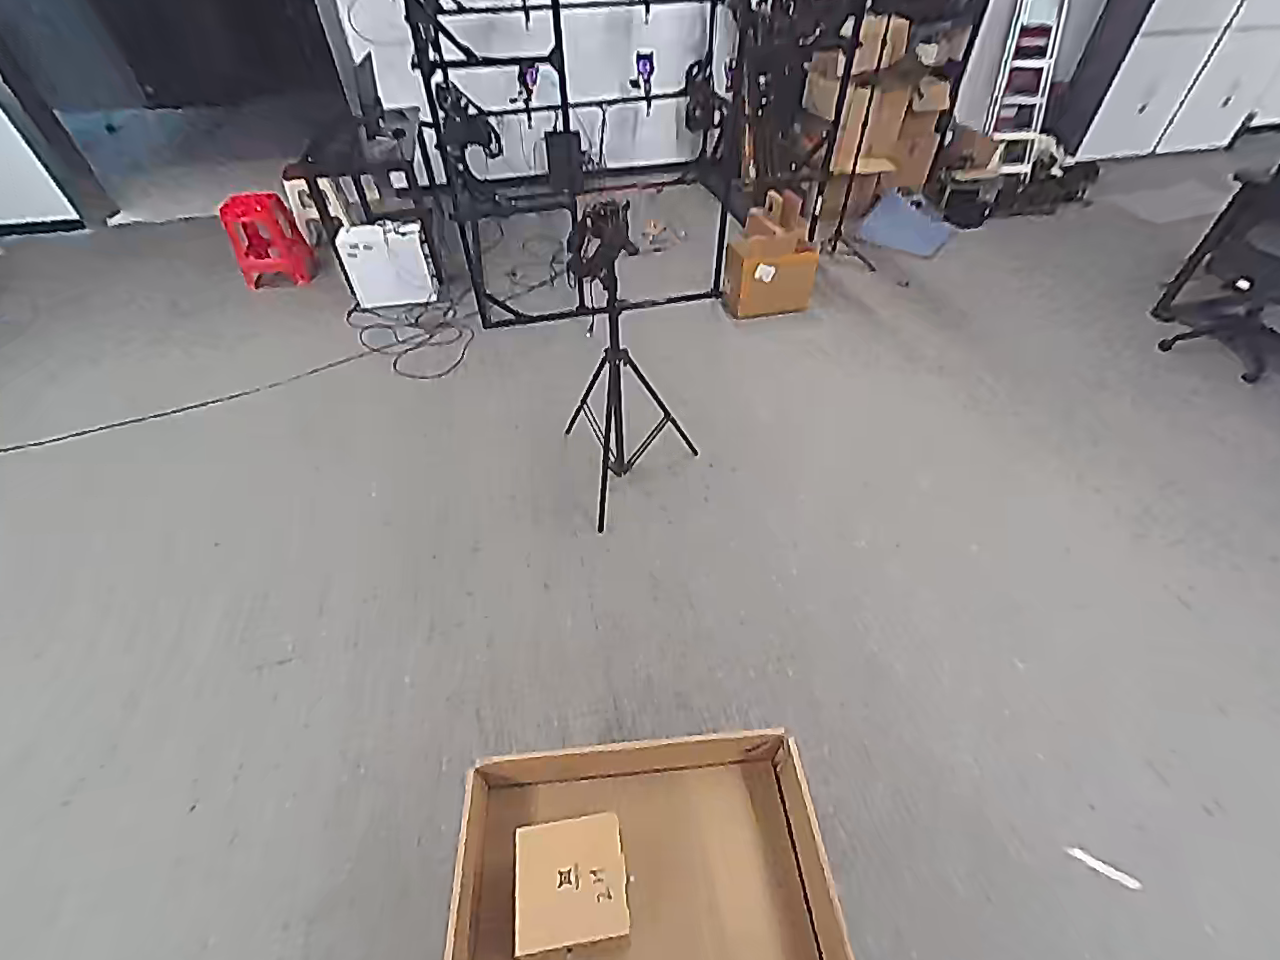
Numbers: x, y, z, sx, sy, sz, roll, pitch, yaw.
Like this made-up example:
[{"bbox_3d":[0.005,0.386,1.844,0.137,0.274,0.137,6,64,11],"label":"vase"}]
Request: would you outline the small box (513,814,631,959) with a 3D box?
[{"bbox_3d":[-0.112,0.692,0.915,0.179,0.176,0.168,-6,46,-6],"label":"small box"}]
